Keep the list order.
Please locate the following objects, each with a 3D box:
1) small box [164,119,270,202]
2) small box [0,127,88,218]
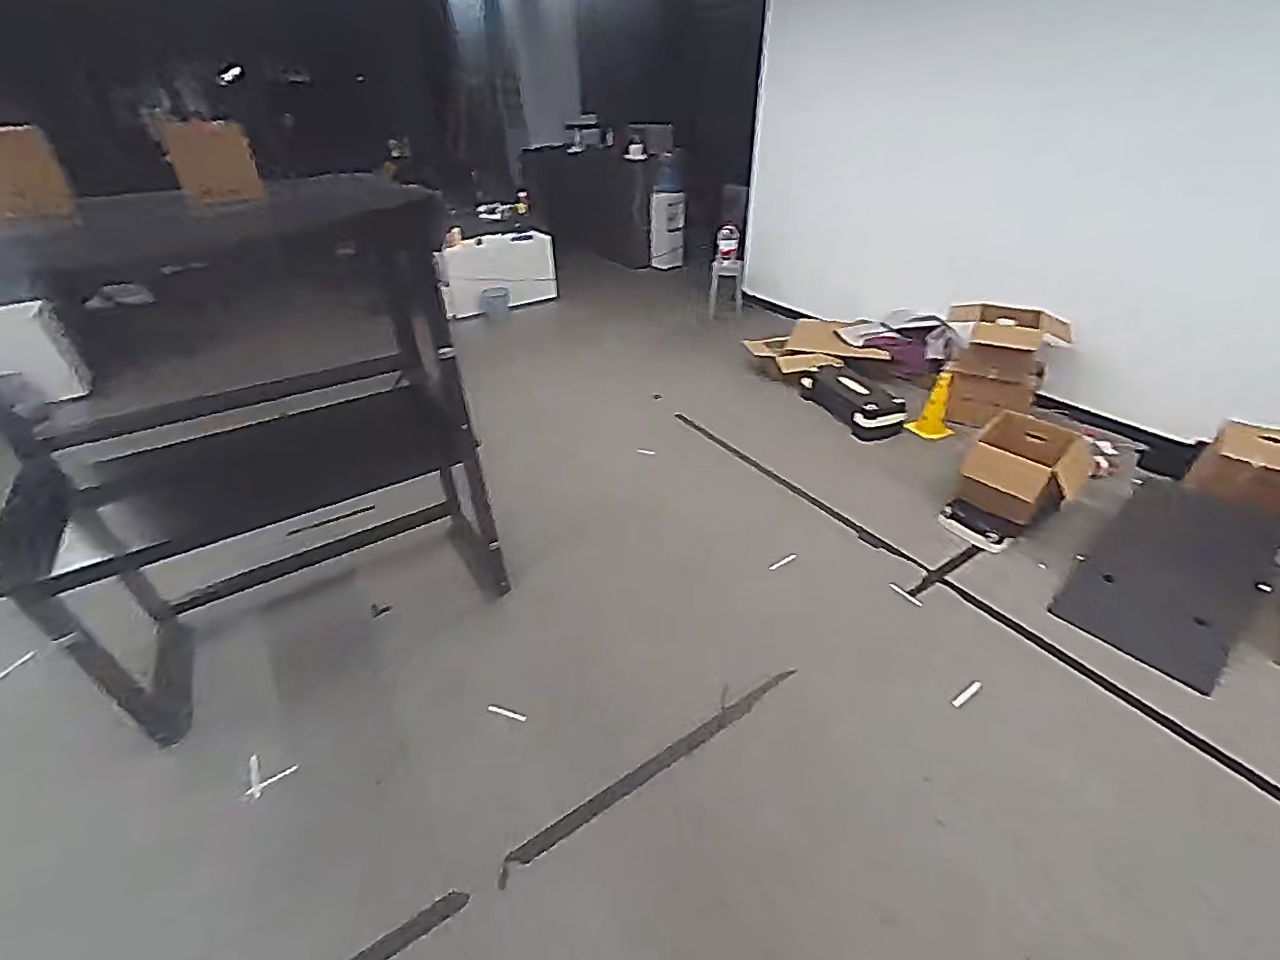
[{"bbox_3d":[-1.080,-0.819,1.389,0.168,0.176,0.179,-23,40,-28],"label":"small box"},{"bbox_3d":[-1.427,-0.709,1.244,0.168,0.176,0.179,-24,42,-28],"label":"small box"}]
